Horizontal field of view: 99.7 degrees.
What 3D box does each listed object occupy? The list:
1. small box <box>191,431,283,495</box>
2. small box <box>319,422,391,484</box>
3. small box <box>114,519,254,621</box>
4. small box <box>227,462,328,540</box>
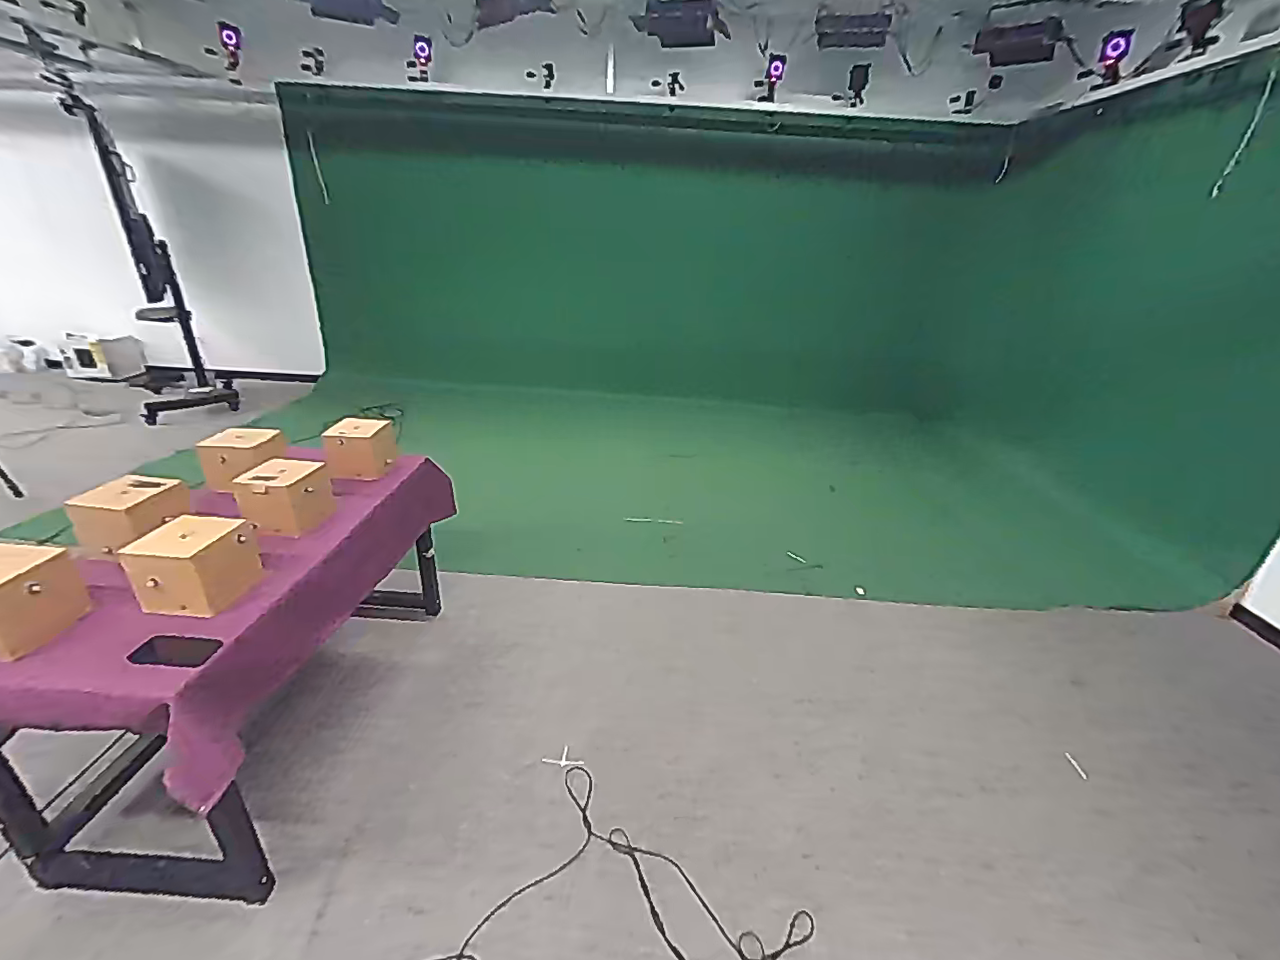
[{"bbox_3d":[-1.326,-0.053,1.798,0.179,0.176,0.168,3,25,-2],"label":"small box"},{"bbox_3d":[-1.015,-0.100,1.941,0.168,0.176,0.179,3,24,0],"label":"small box"},{"bbox_3d":[-1.050,0.209,1.266,0.168,0.176,0.179,4,23,2],"label":"small box"},{"bbox_3d":[-1.051,0.061,1.587,0.168,0.176,0.179,5,24,4],"label":"small box"}]
